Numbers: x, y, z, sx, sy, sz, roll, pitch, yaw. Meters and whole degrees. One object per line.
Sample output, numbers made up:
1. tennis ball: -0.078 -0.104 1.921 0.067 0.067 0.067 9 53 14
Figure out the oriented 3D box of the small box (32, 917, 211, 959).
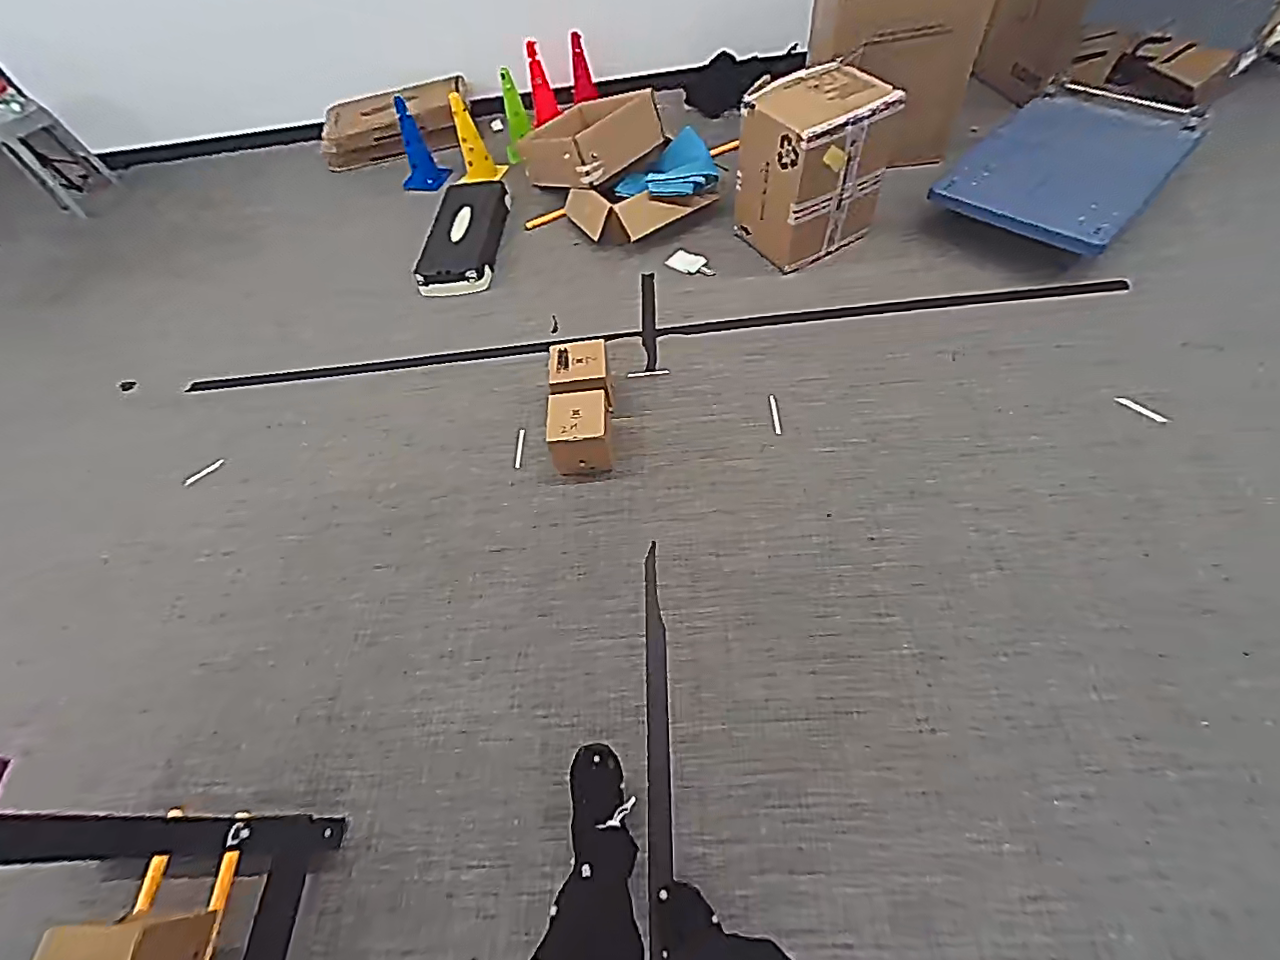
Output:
1. small box: -0.893 0.856 0.912 0.179 0.176 0.168 -5 57 2
